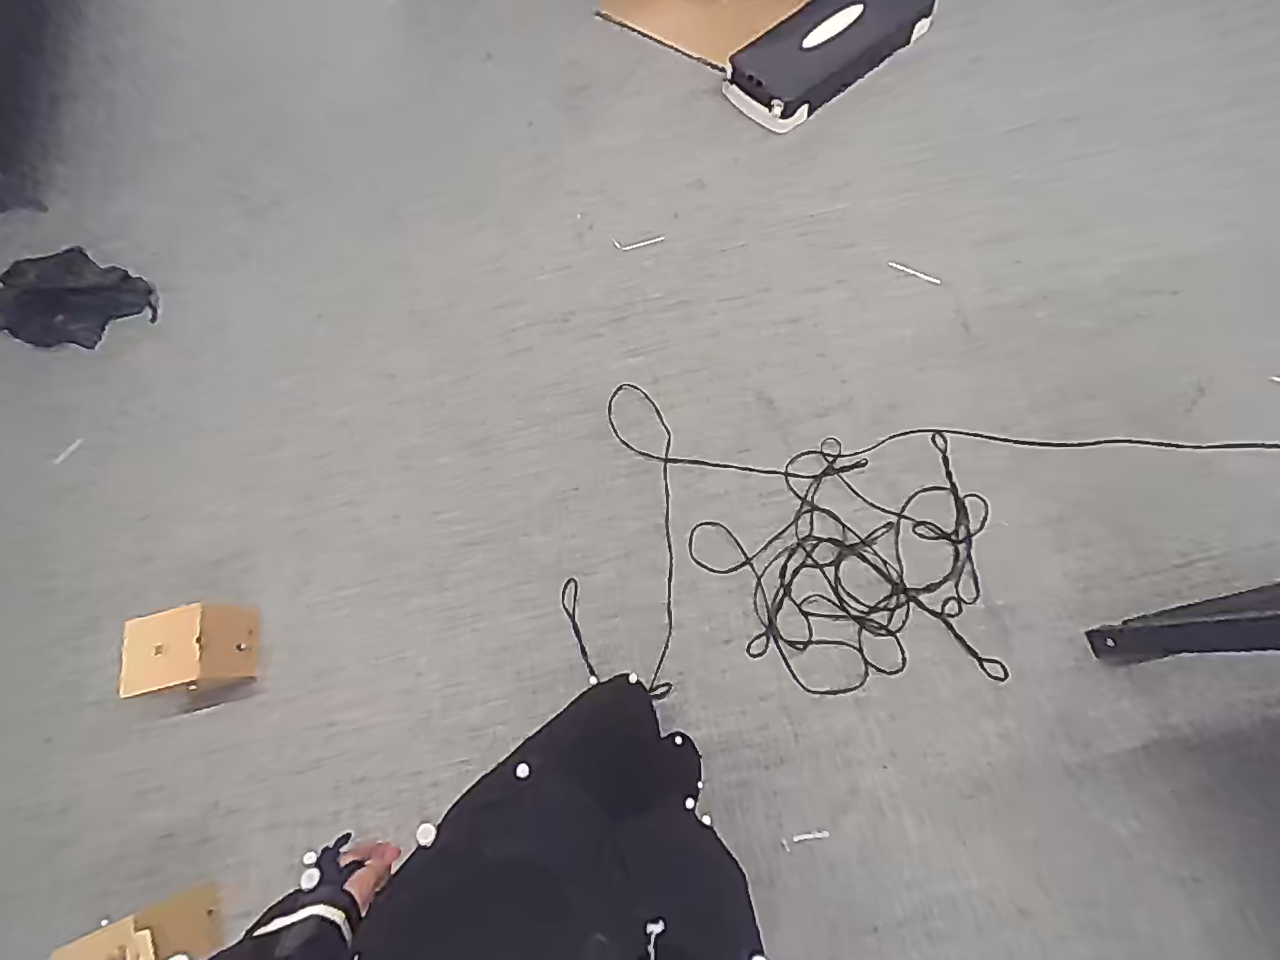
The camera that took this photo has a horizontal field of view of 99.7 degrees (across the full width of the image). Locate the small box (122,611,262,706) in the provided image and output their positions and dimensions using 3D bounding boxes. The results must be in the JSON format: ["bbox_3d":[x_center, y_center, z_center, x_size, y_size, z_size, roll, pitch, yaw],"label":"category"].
[{"bbox_3d":[-1.006,0.408,1.228,0.179,0.176,0.168,-15,69,0],"label":"small box"}]
